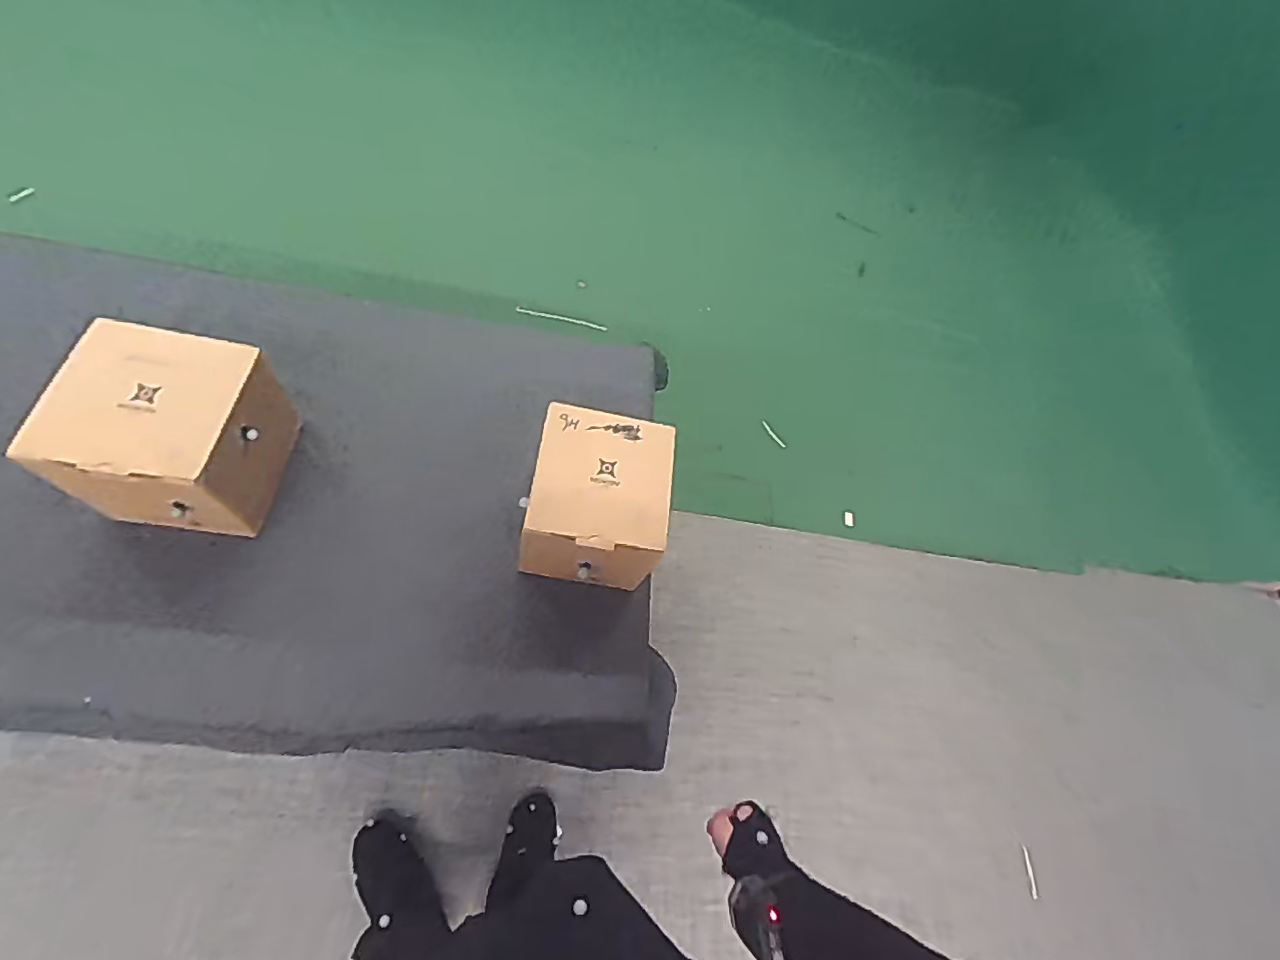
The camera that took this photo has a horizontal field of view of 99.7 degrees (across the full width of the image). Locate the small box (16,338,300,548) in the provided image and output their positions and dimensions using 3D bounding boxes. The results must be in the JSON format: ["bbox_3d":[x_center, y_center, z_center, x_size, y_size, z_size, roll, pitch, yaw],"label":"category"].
[{"bbox_3d":[-0.534,-0.032,0.639,0.168,0.176,0.179,9,61,-12],"label":"small box"}]

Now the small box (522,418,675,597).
[{"bbox_3d":[-0.059,0.047,0.723,0.168,0.176,0.179,11,63,-9],"label":"small box"}]
